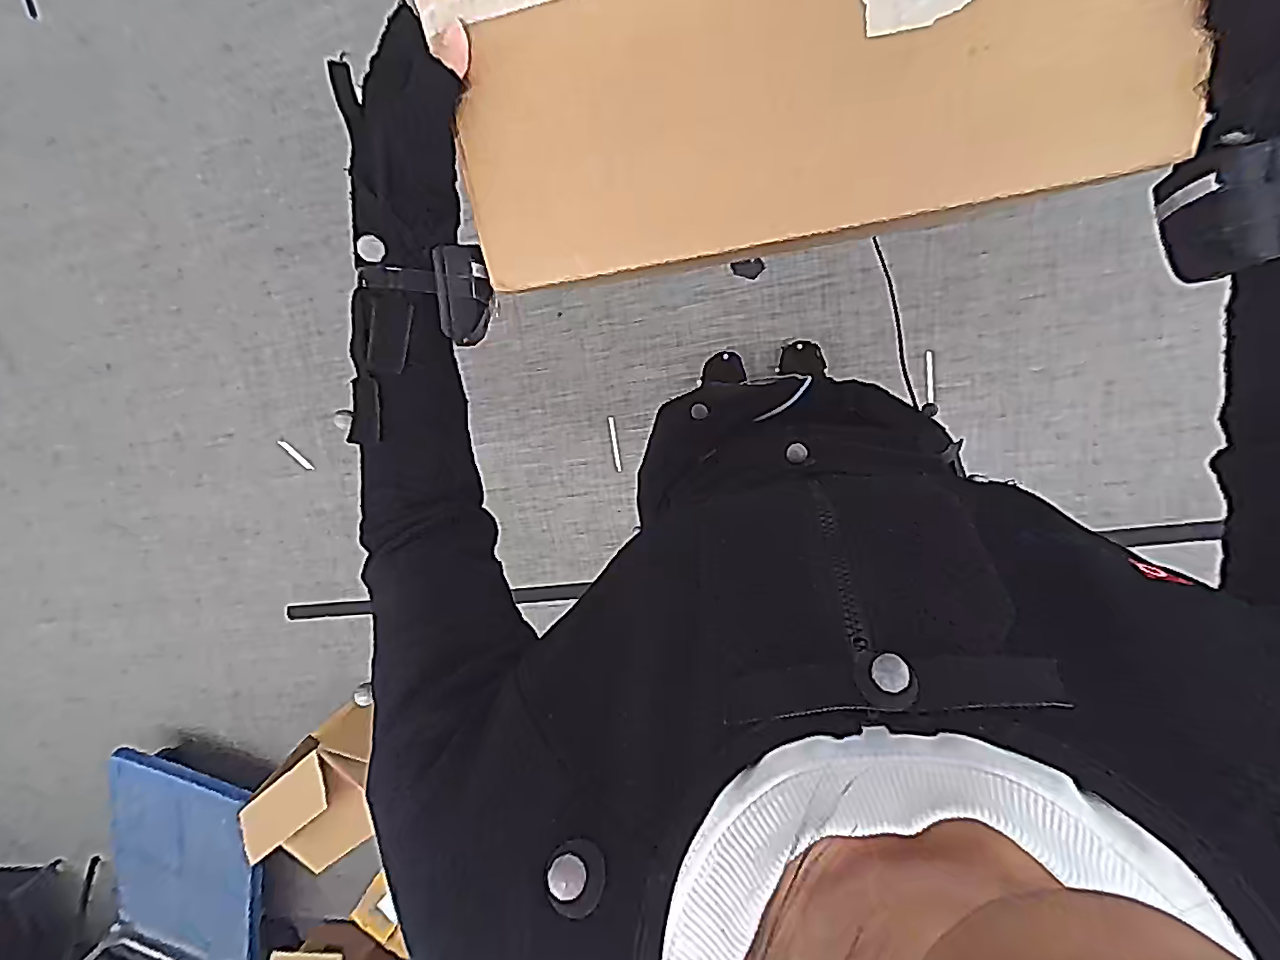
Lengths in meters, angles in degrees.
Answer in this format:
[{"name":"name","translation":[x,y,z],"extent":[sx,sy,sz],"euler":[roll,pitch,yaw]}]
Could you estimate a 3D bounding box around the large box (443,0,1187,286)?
[{"name":"large box","translation":[0.093,-0.353,0.429],"extent":[0.408,0.320,0.320],"euler":[-7,110,10]}]
